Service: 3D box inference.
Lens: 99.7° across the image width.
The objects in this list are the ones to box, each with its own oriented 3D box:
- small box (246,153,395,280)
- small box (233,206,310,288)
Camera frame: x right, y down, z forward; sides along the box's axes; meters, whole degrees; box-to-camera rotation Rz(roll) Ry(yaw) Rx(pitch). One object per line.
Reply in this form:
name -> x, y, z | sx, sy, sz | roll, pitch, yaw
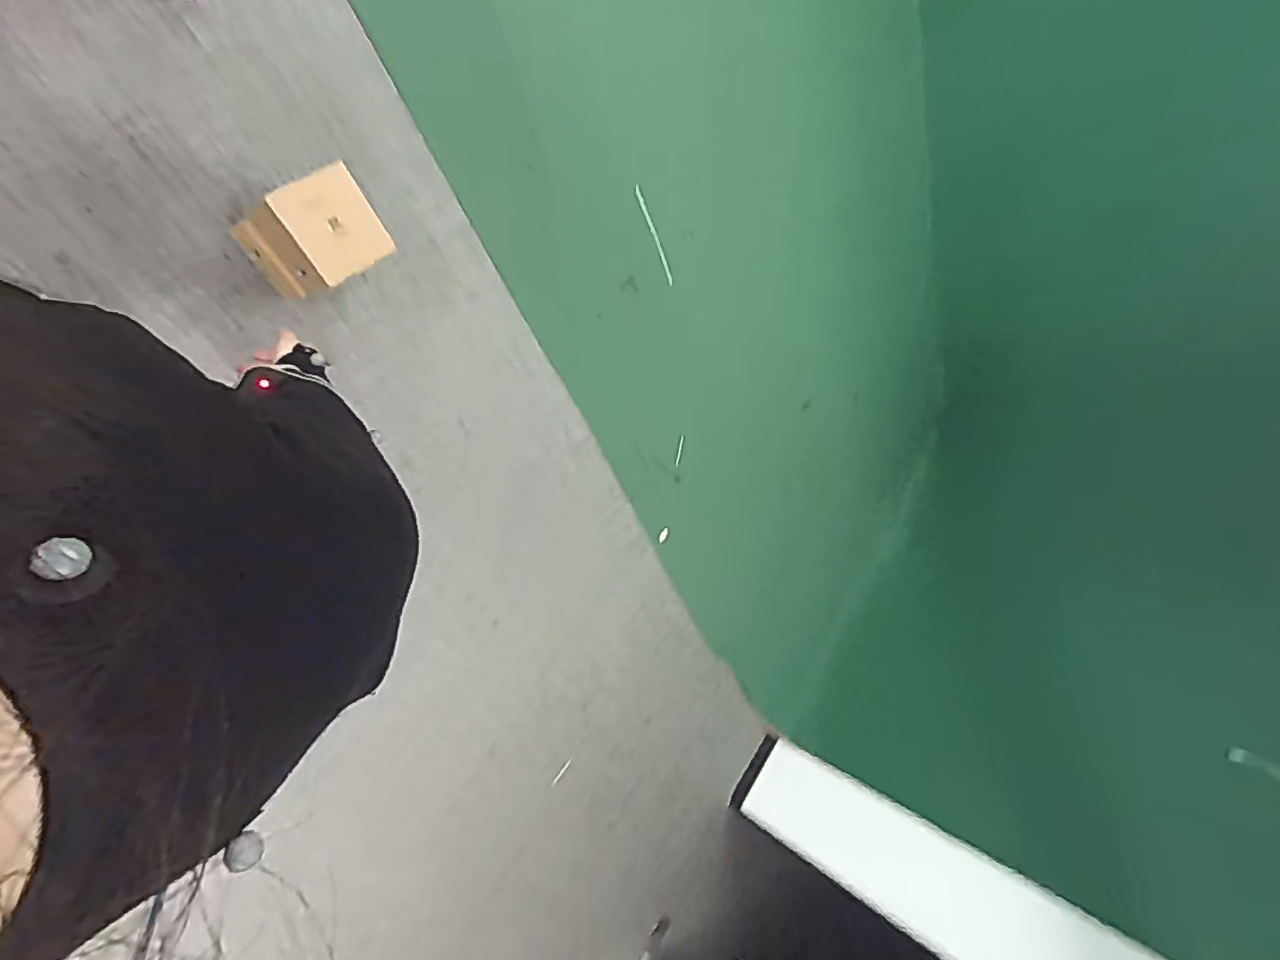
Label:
small box -> -0.638, -0.517, 1.084 | 0.168, 0.176, 0.179 | -48, 130, -27
small box -> -0.757, -0.541, 1.193 | 0.179, 0.176, 0.168 | -50, 131, -25
